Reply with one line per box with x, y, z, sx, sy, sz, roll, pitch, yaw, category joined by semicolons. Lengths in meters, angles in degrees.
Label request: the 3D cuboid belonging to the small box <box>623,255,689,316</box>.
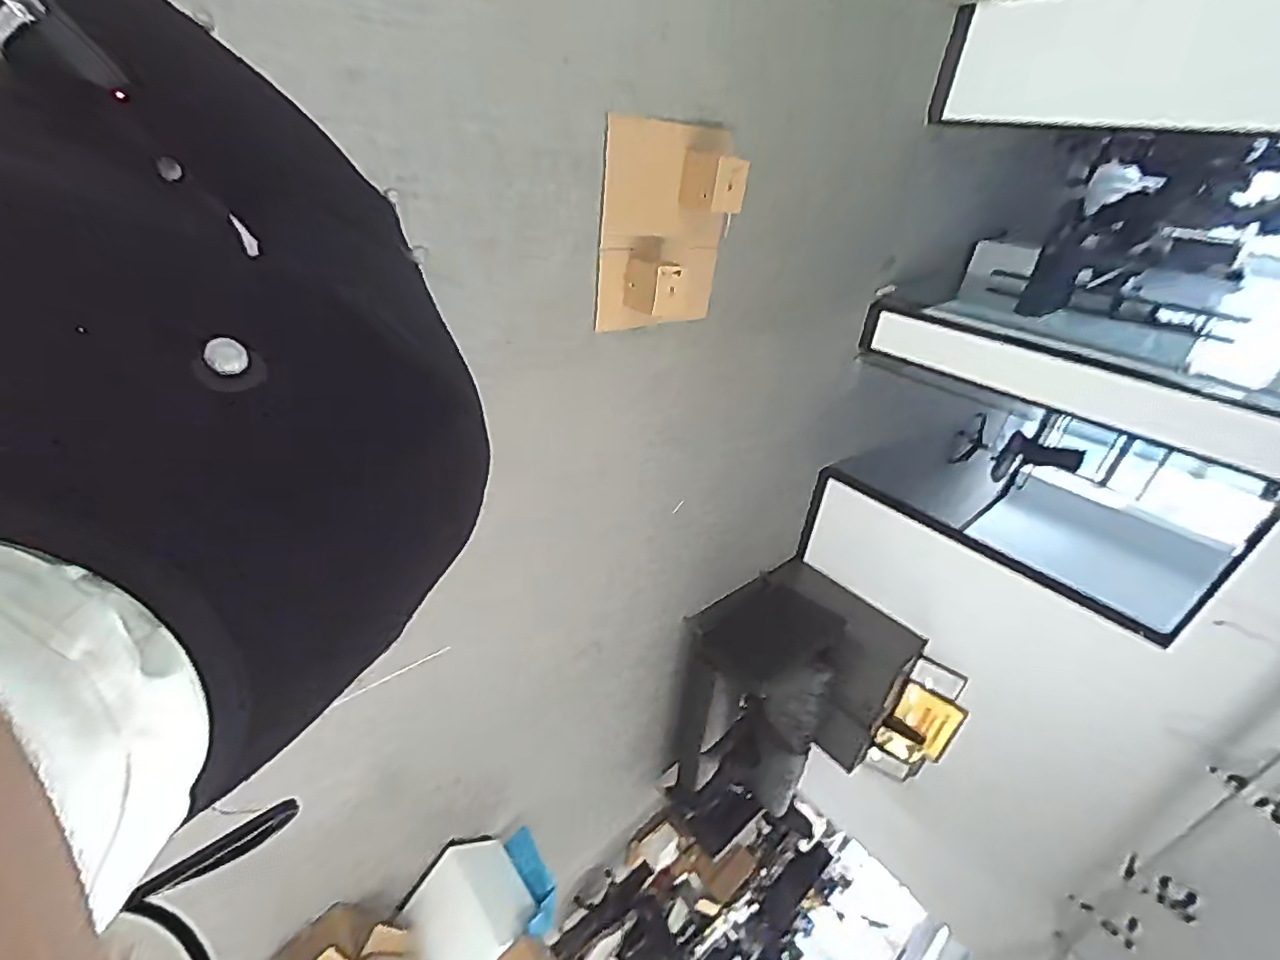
0.053;-0.722;2.006;0.168;0.176;0.179;-17;129;-39;small box

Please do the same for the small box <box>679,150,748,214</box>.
0.259;-1.077;1.954;0.168;0.176;0.179;-19;129;-38;small box
